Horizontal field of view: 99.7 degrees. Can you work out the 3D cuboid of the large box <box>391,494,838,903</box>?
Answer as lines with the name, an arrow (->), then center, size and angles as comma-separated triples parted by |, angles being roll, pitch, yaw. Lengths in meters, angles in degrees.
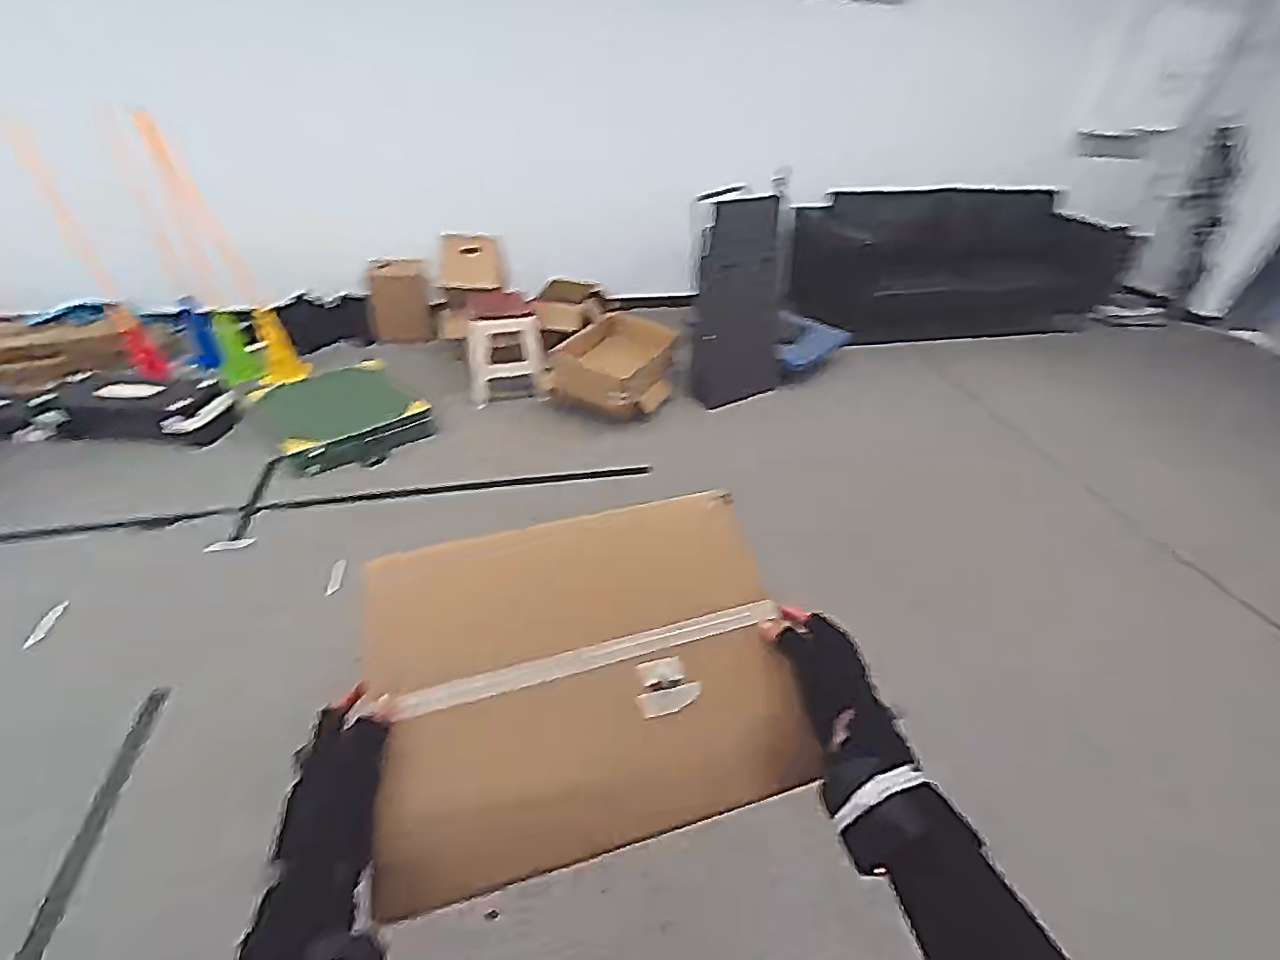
large box -> -0.052, 0.259, 0.669 | 0.408, 0.320, 0.320 | -10, 59, -12
